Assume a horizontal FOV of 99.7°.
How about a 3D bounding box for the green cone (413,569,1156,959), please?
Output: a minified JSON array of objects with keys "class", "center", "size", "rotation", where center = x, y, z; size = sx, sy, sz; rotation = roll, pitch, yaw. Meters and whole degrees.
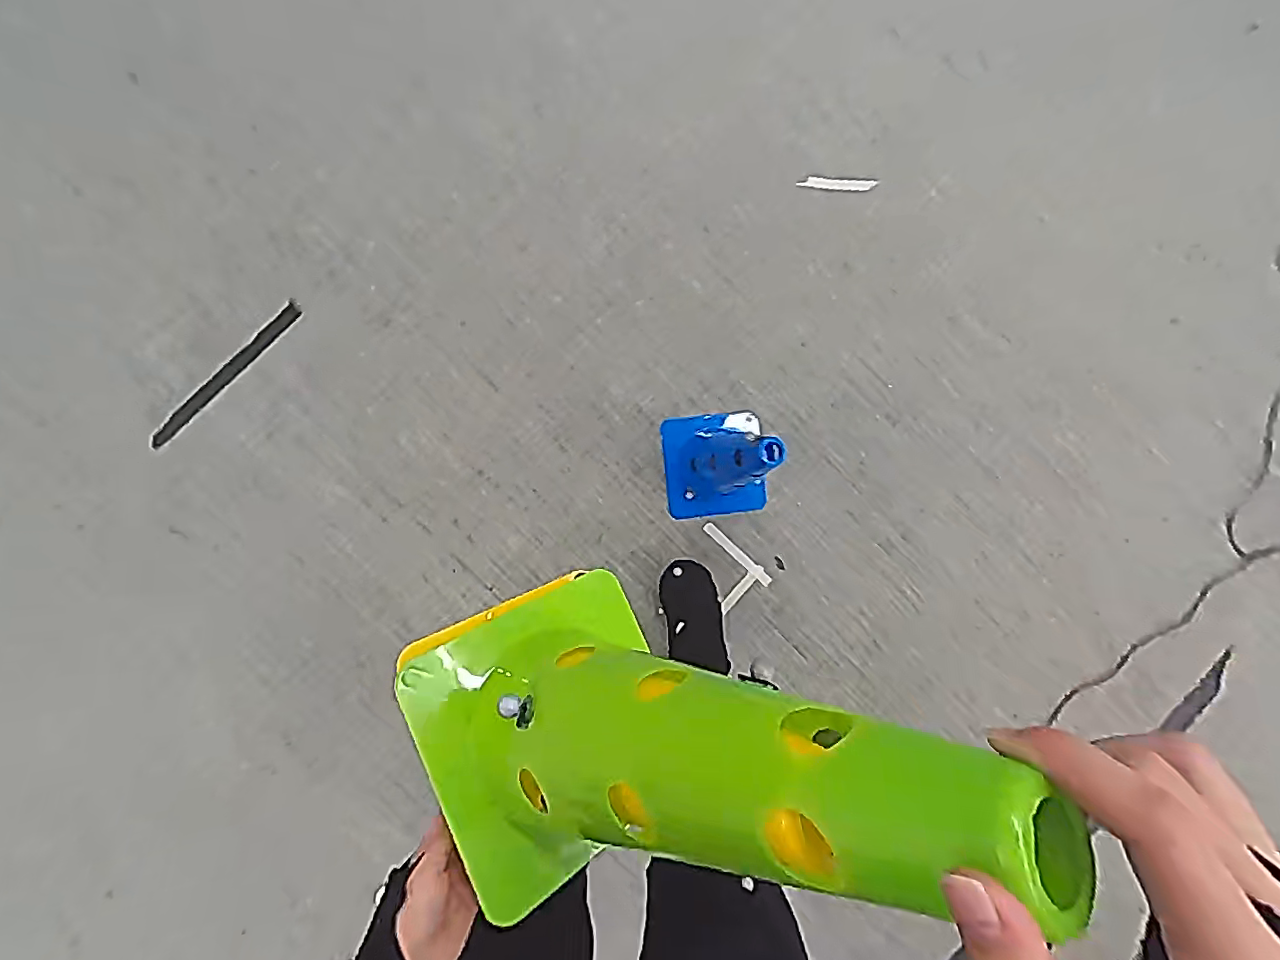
[{"class":"green cone","center":[0.031,0.145,0.284],"size":[0.202,0.368,0.200],"rotation":[-21,85,-33]}]
